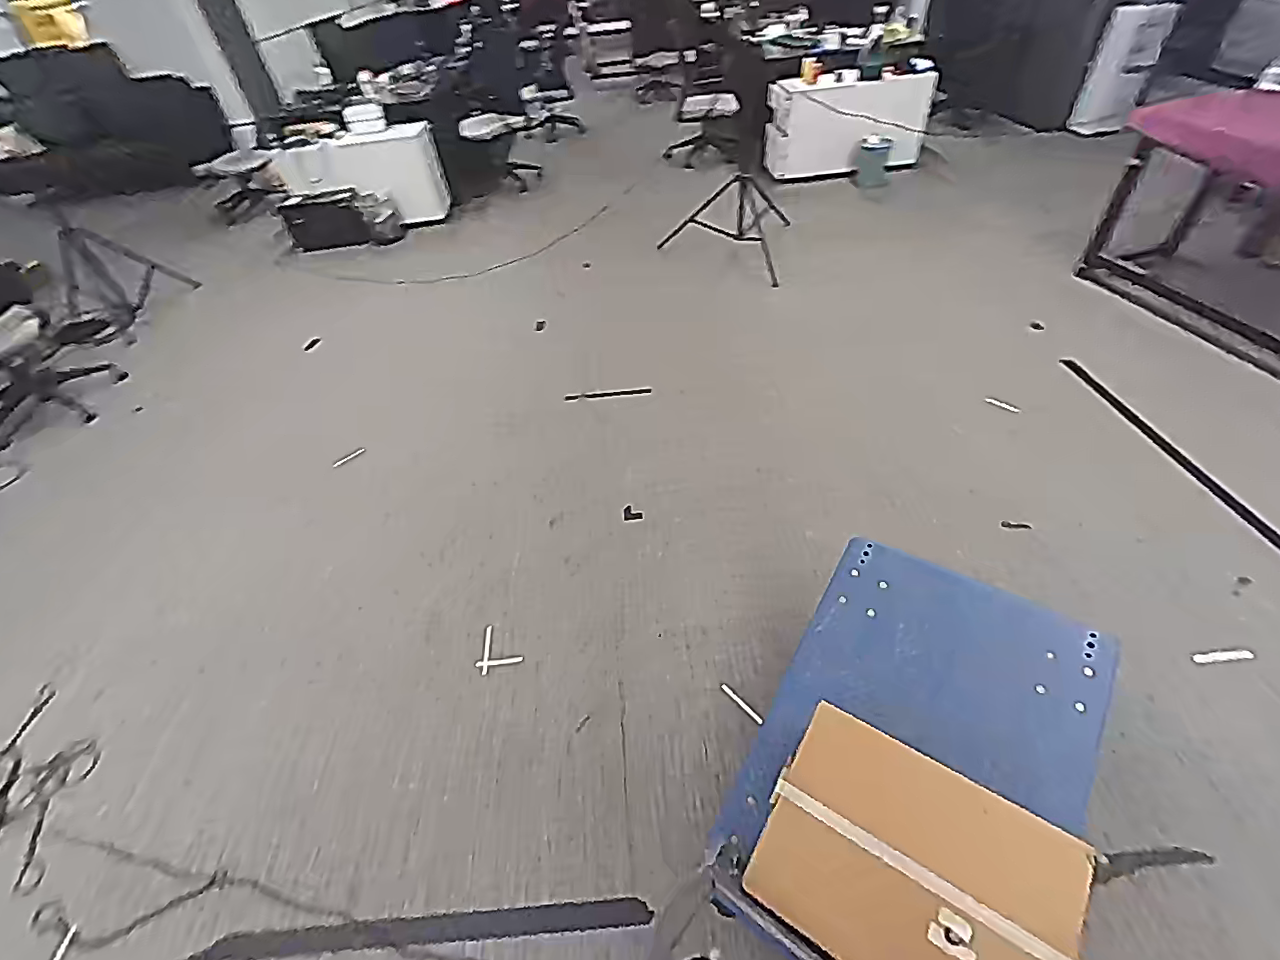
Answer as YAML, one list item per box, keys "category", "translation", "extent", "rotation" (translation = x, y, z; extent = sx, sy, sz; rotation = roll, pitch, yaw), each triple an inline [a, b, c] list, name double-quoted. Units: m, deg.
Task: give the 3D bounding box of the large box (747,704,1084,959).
- category: "large box"
  translation: [0.429, 0.655, 0.930]
  extent: [0.408, 0.320, 0.320]
  rotation: [23, 65, 25]
